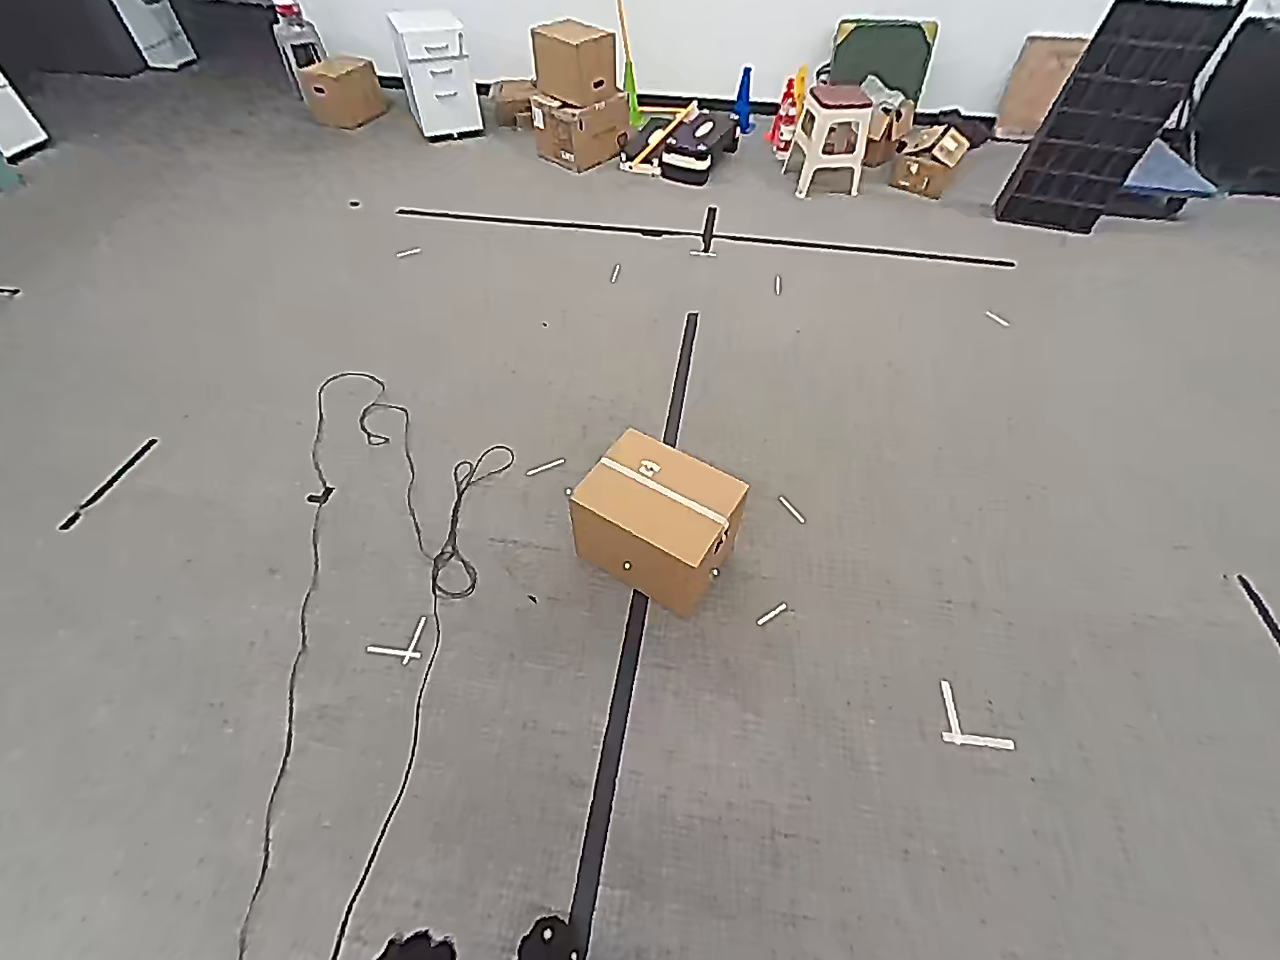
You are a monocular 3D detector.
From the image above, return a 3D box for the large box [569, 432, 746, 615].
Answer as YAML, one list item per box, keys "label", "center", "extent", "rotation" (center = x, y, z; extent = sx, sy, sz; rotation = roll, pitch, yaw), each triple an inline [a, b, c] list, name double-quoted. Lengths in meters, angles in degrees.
- label: "large box"
  center: [0.053, 0.129, 1.609]
  extent: [0.408, 0.320, 0.320]
  rotation: [27, 56, 19]
